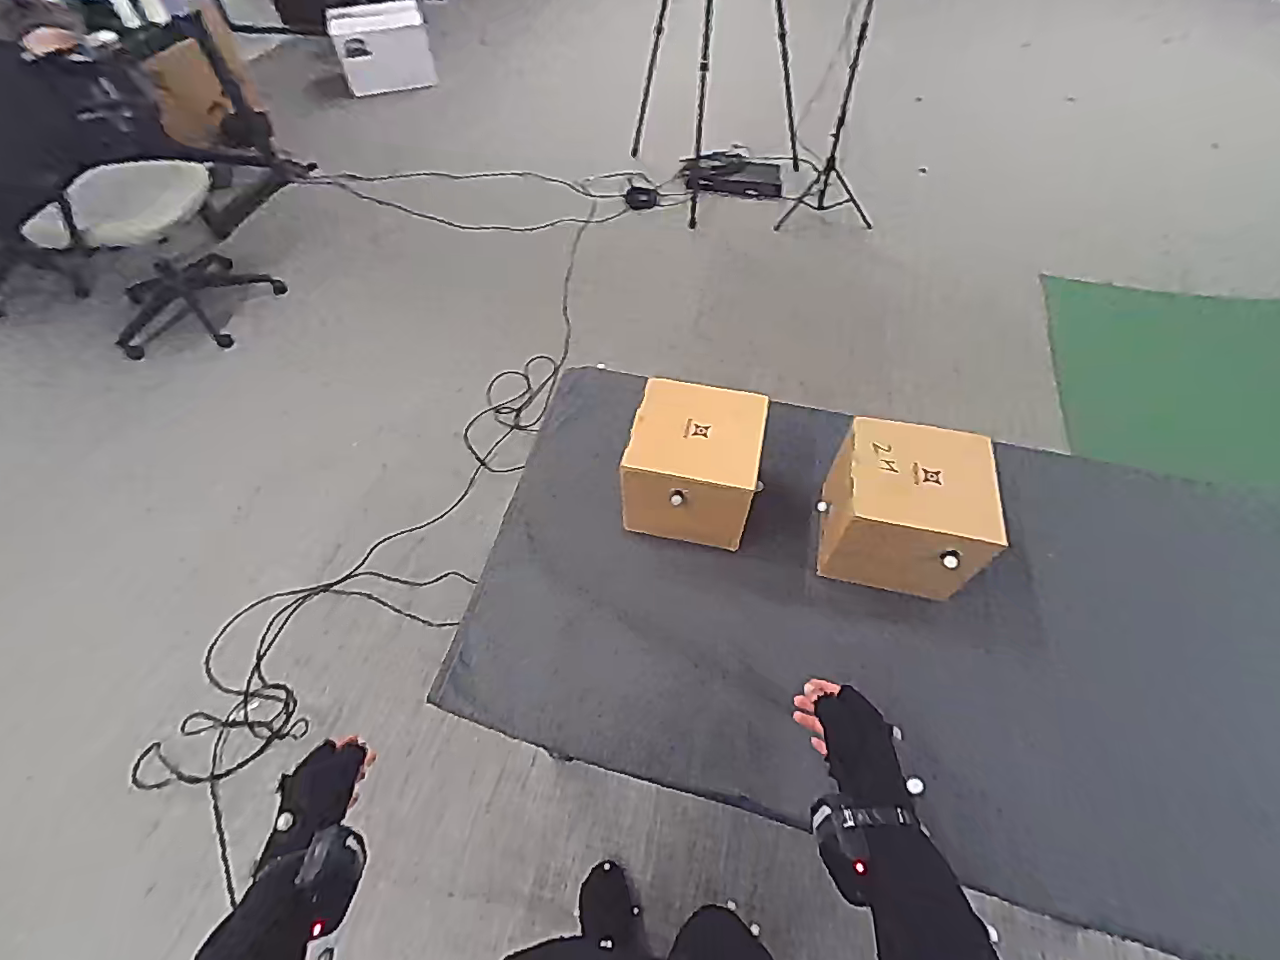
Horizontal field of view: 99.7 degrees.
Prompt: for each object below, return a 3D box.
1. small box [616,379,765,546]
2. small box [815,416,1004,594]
[{"bbox_3d":[0.075,-0.020,0.790,0.179,0.176,0.168,10,57,9],"label":"small box"},{"bbox_3d":[0.350,0.039,0.734,0.179,0.176,0.168,10,56,9],"label":"small box"}]
